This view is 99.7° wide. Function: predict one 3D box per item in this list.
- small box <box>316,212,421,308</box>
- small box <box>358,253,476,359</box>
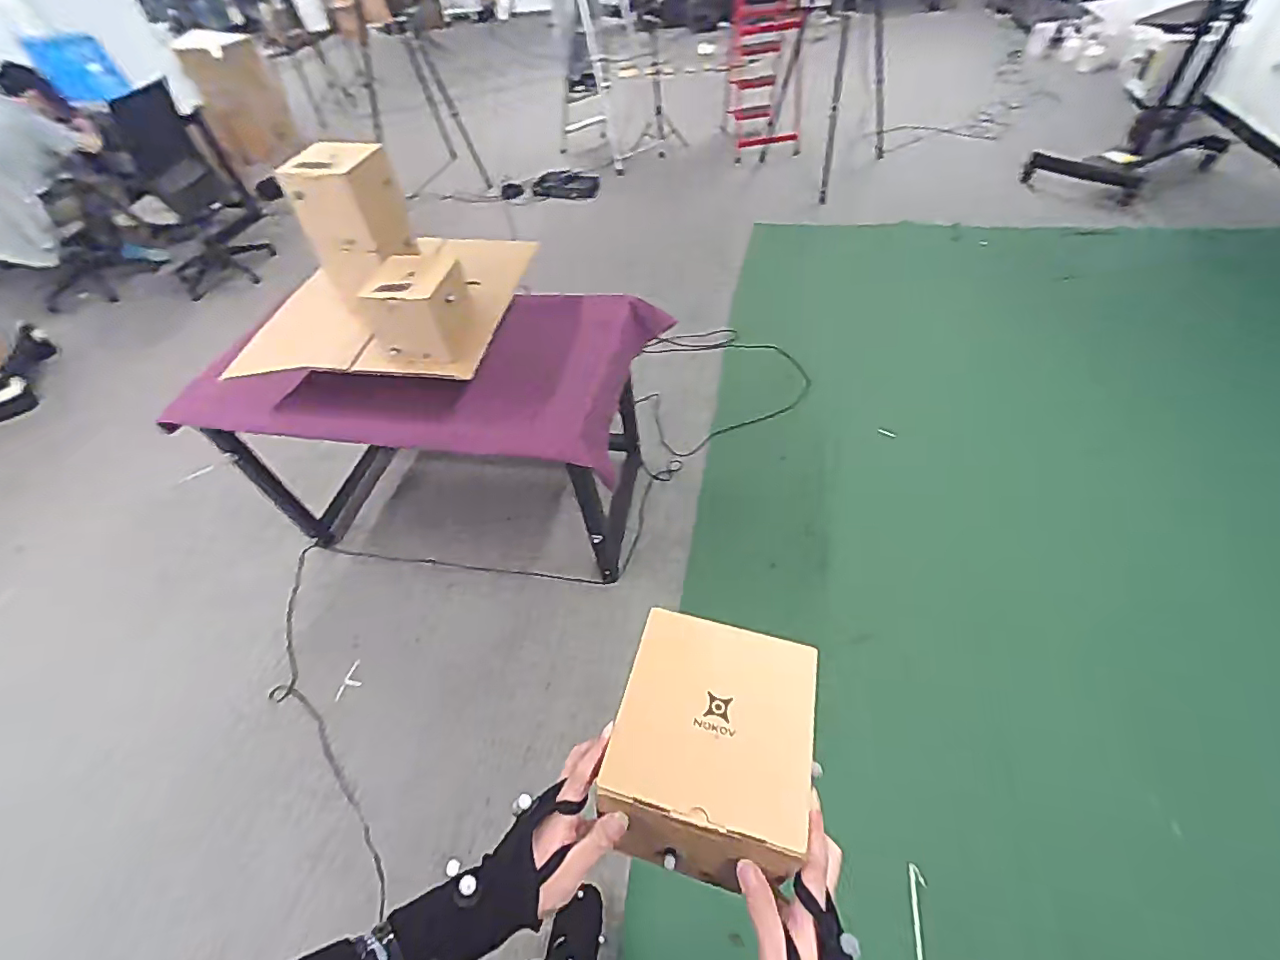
[{"bbox_3d":[-0.665,-0.552,1.367,0.168,0.176,0.179,6,52,8],"label":"small box"},{"bbox_3d":[-0.492,-0.393,1.227,0.168,0.176,0.179,5,51,8],"label":"small box"}]
